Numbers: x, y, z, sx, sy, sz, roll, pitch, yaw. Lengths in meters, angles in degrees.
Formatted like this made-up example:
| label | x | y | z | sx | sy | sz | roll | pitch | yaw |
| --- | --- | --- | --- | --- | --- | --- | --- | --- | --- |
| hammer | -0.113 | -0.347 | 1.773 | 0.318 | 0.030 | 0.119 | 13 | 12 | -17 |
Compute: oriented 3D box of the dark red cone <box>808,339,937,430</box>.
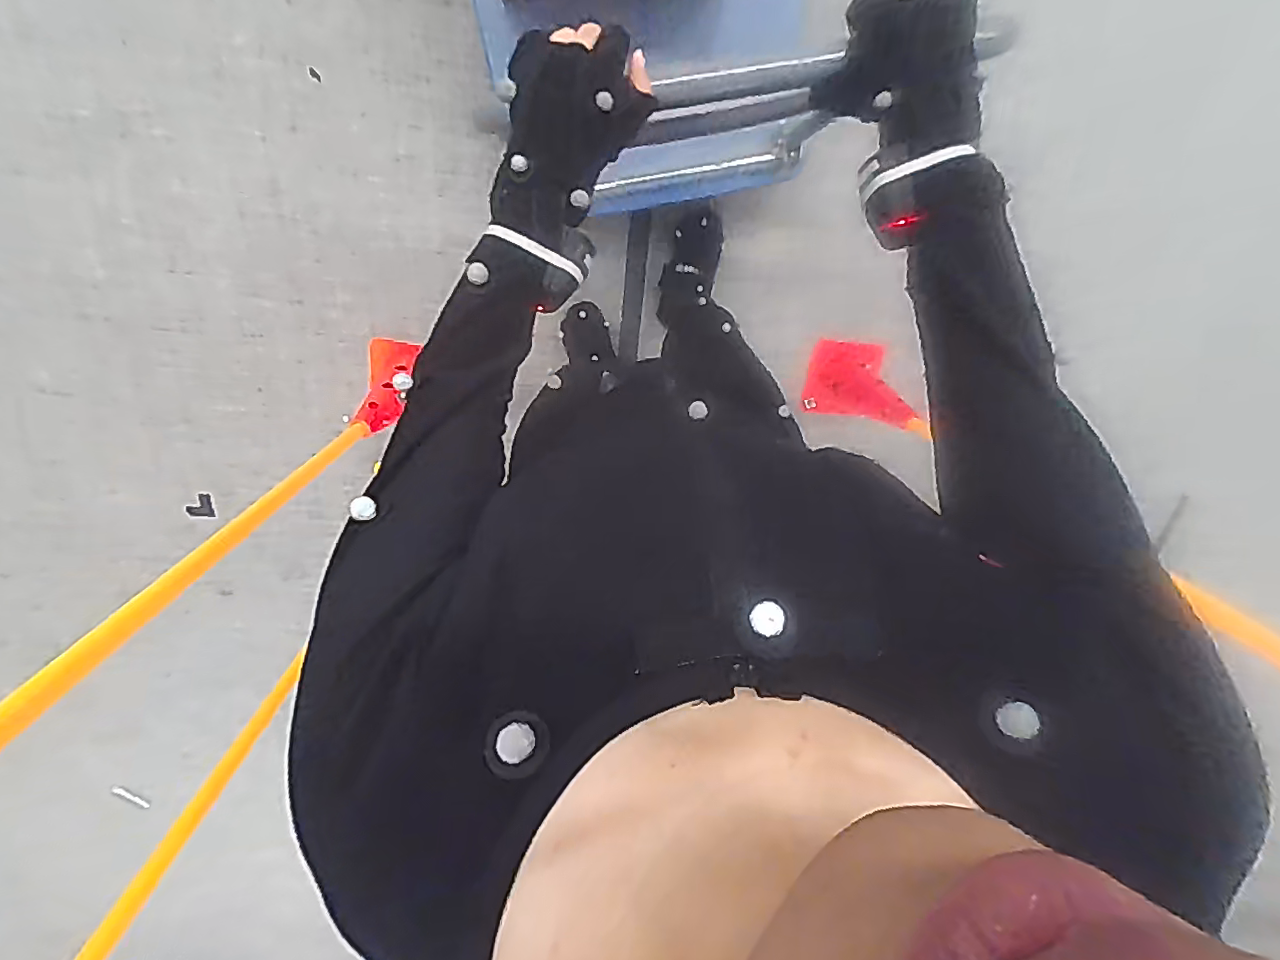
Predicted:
| label | x | y | z | sx | sy | sz | roll | pitch | yaw |
| --- | --- | --- | --- | --- | --- | --- | --- | --- | --- |
| dark red cone | 0.572 | -0.200 | 1.290 | 0.201 | 0.394 | 0.202 | 2 | 115 | -8 |

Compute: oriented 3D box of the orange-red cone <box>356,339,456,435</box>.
| label | x | y | z | sx | sy | sz | roll | pitch | yaw |
| --- | --- | --- | --- | --- | --- | --- | --- | --- | --- |
| orange-red cone | -0.560 | -0.178 | 1.221 | 0.198 | 0.360 | 0.199 | 9 | 112 | -10 |
